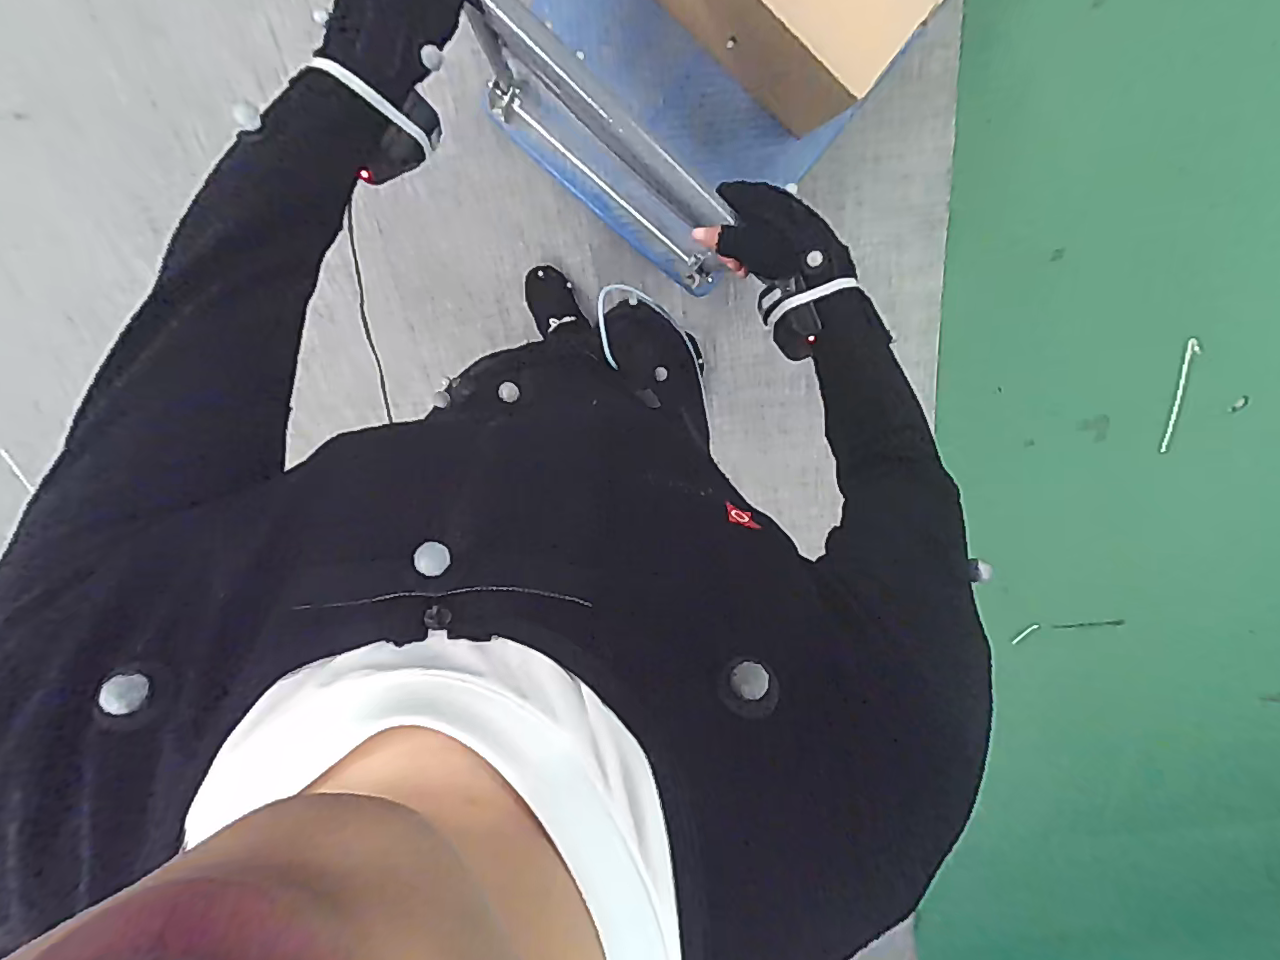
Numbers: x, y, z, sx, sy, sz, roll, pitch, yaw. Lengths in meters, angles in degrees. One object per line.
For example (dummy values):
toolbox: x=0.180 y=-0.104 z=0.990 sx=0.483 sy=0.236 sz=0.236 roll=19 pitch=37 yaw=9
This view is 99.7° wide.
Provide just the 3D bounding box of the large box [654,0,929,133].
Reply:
large box: x=0.245 y=-0.834 z=0.837 sx=0.408 sy=0.320 sz=0.320 roll=34 pitch=108 yaw=-14
